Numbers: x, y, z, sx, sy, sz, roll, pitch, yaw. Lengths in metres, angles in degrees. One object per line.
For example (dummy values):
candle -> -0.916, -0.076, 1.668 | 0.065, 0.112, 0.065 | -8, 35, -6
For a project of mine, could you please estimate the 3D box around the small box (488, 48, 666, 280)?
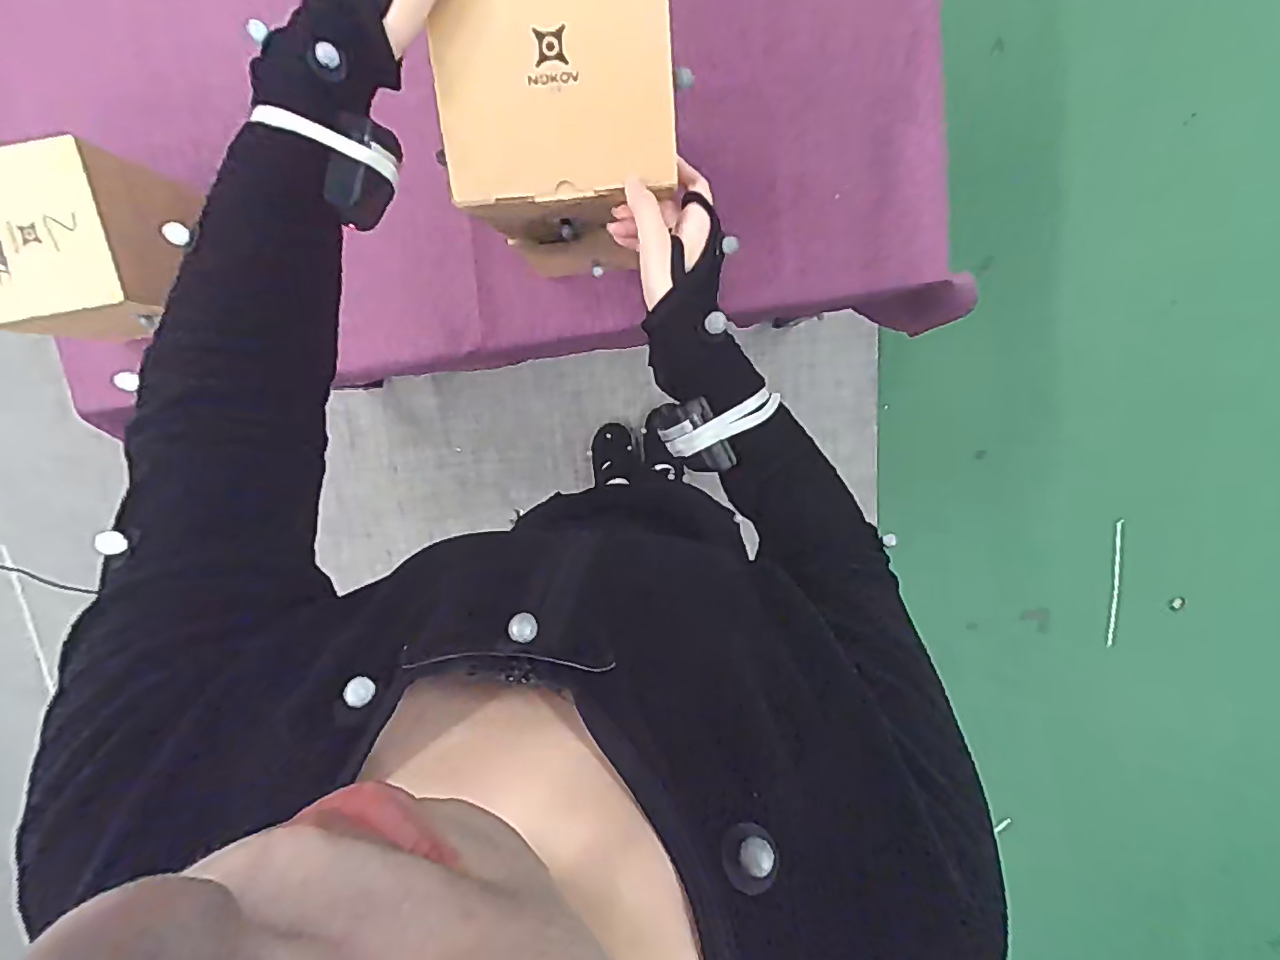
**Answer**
small box -> -0.060, -0.339, 0.614 | 0.168, 0.176, 0.179 | -4, 101, 2
